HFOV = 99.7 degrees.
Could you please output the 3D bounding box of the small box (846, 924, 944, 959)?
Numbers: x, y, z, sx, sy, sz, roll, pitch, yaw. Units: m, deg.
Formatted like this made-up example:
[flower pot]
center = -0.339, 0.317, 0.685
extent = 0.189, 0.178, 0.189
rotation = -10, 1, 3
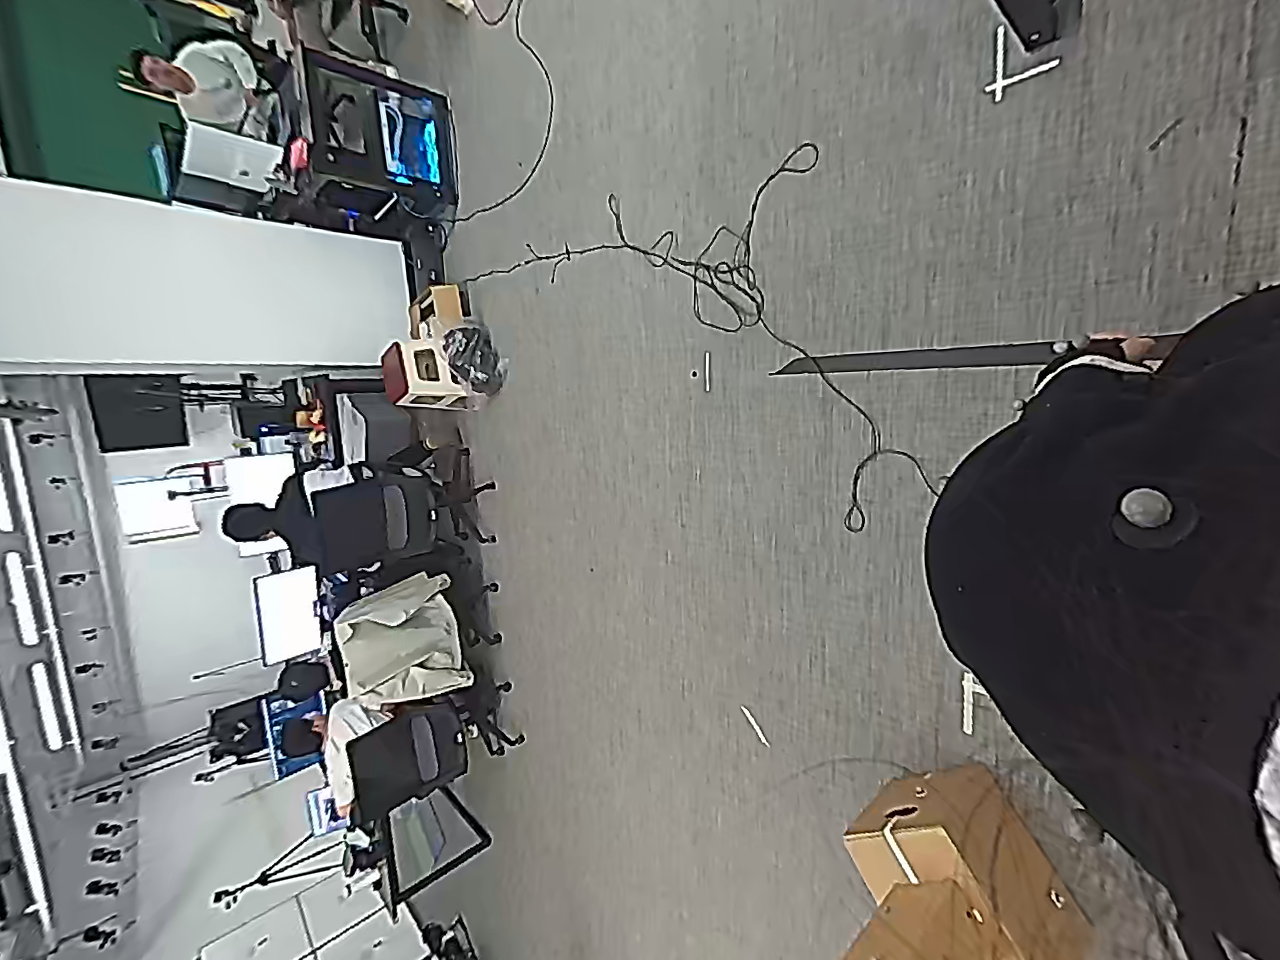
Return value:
[small box]
center = 0.537, 1.056, 1.111
extent = 0.179, 0.176, 0.168
rotation = -48, 62, 42
